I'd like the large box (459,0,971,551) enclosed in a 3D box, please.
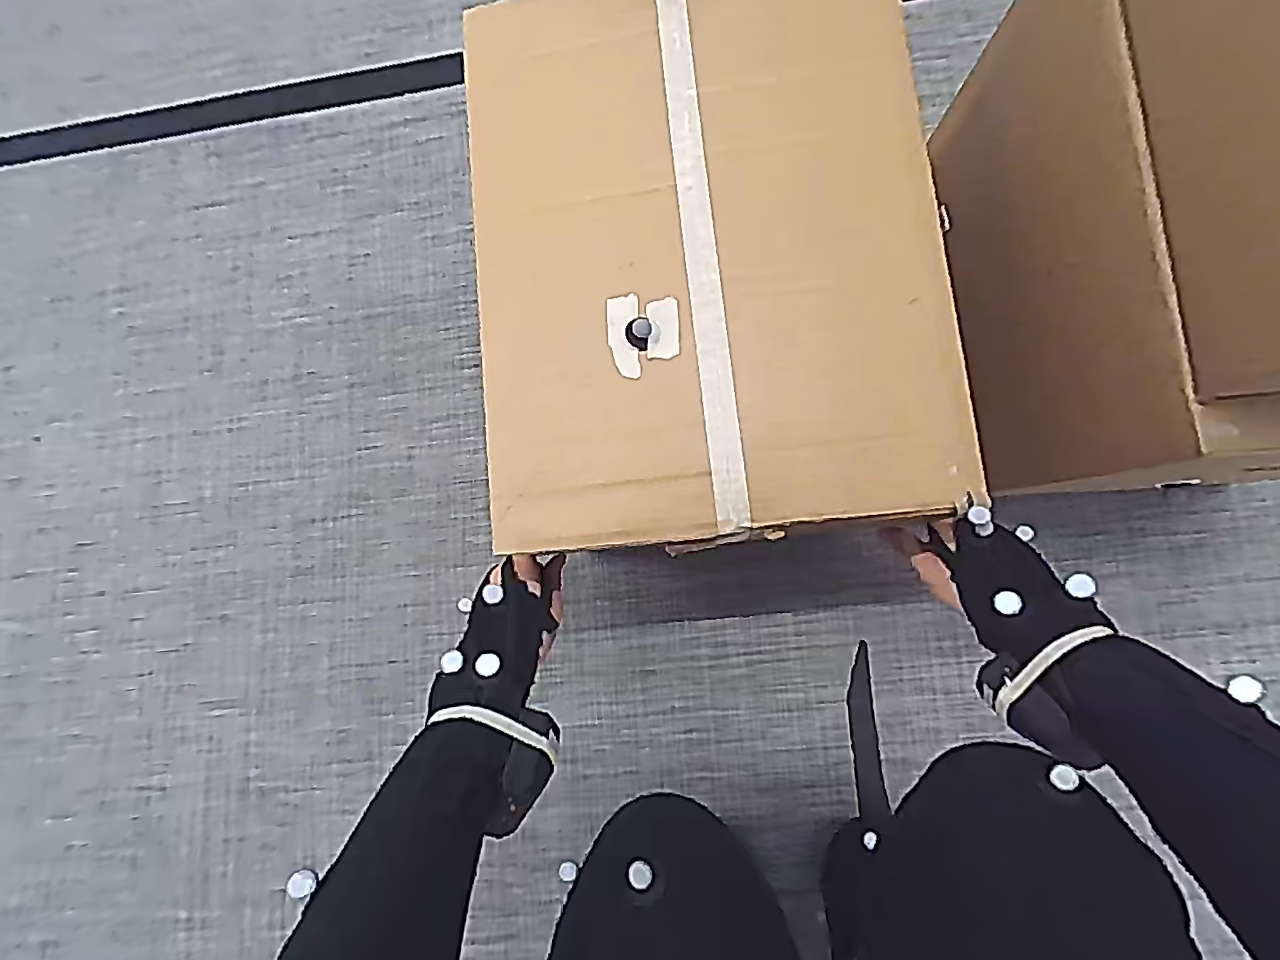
[{"bbox_3d":[0.048,-0.152,0.524,0.320,0.320,0.408,-7,83,5],"label":"large box"}]
